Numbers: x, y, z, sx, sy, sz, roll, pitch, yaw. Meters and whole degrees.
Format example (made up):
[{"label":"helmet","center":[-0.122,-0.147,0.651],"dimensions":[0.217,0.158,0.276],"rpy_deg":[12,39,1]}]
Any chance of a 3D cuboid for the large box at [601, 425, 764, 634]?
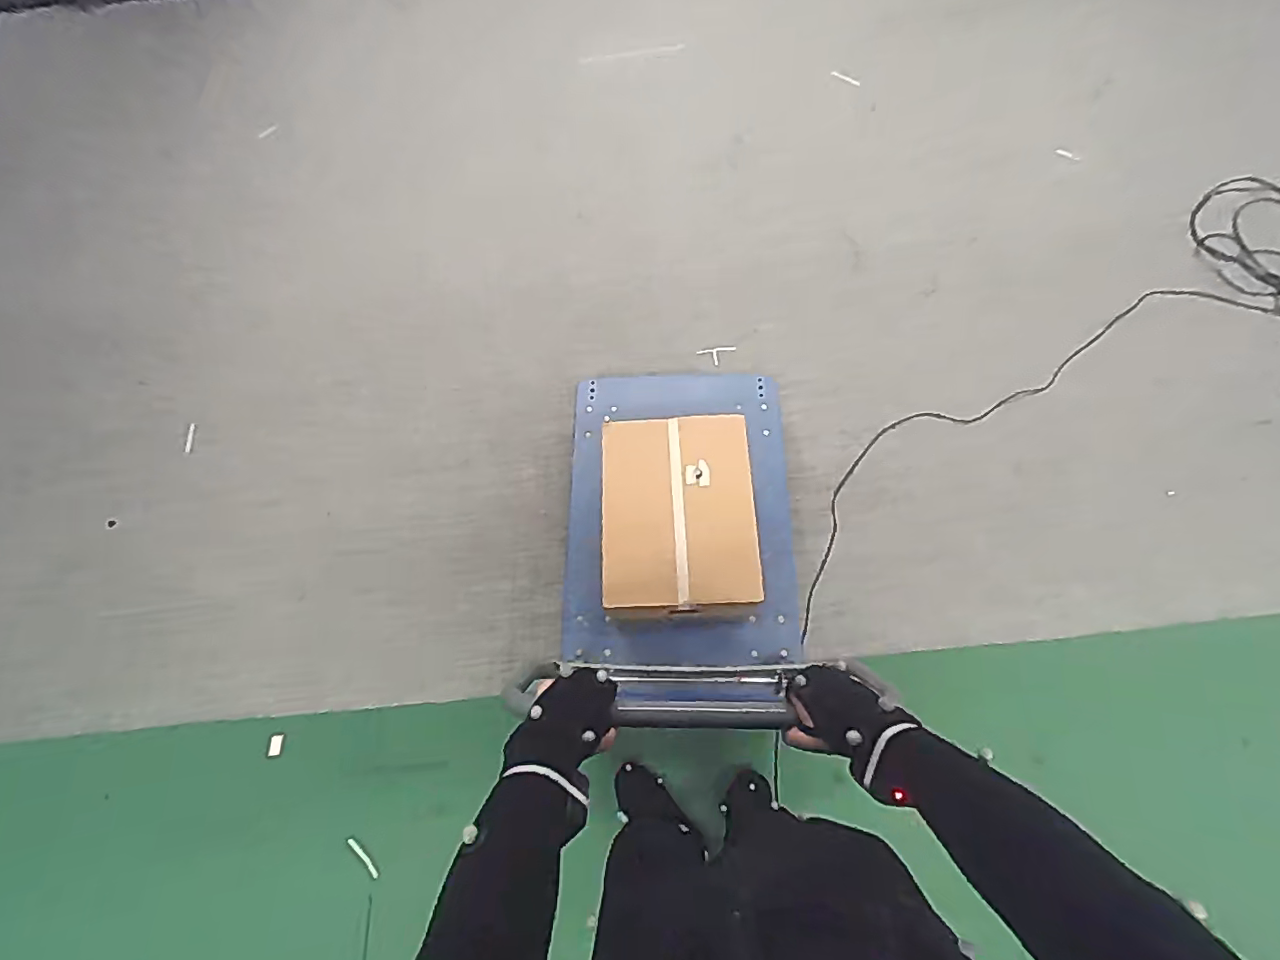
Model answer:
[{"label":"large box","center":[0.088,0.128,1.253],"dimensions":[0.320,0.320,0.408],"rpy_deg":[-3,69,2]}]
